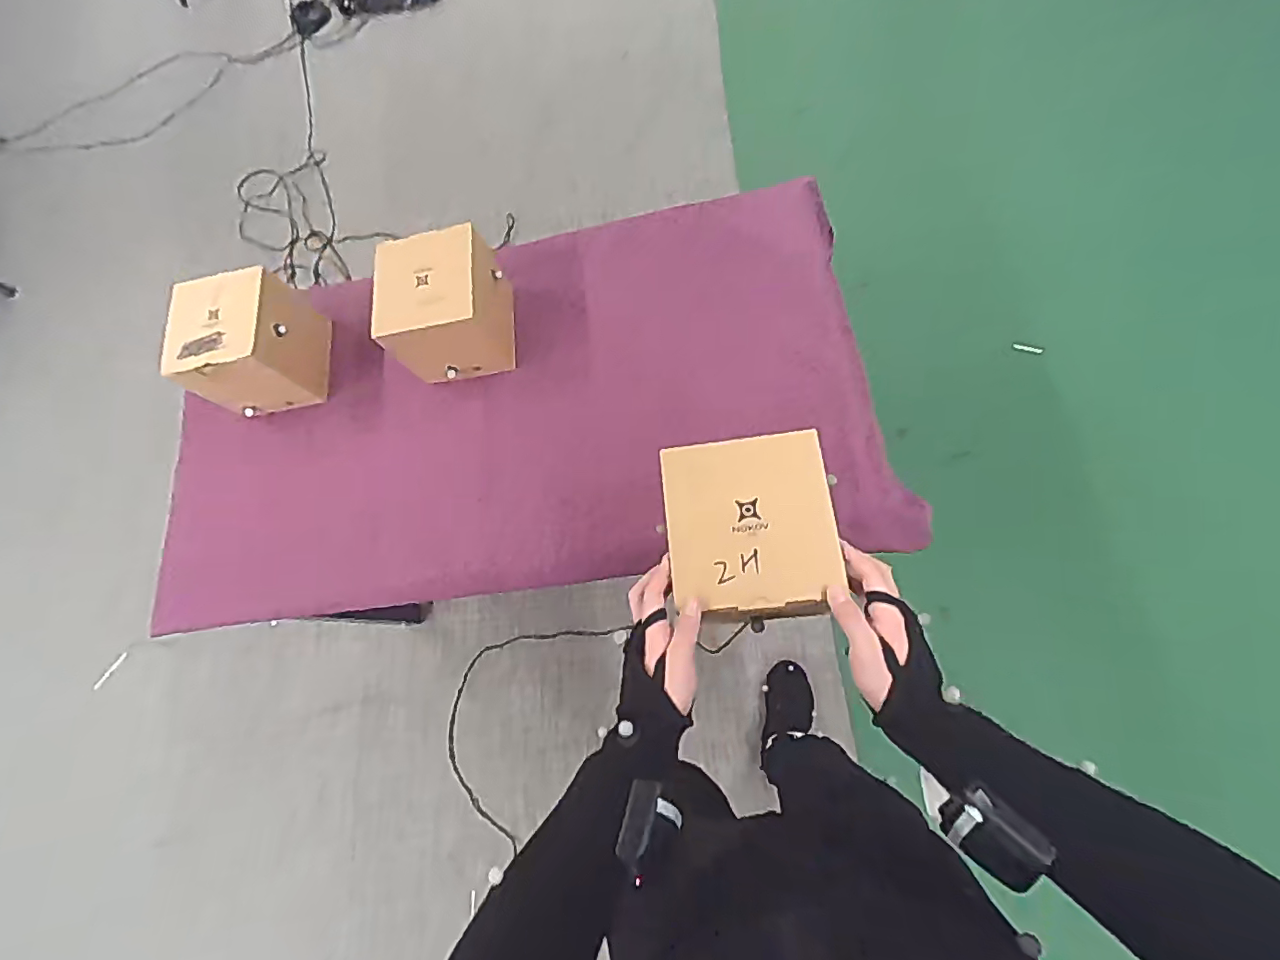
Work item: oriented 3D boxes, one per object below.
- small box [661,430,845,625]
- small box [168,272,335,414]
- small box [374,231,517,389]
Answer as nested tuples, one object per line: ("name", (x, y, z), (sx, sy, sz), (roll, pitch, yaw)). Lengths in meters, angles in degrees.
("small box", (0.119, 0.064, 0.616), (0.168, 0.176, 0.179), (-7, 71, 8))
("small box", (-0.668, -0.228, 0.952), (0.168, 0.176, 0.179), (-9, 71, 6))
("small box", (-0.316, -0.276, 0.908), (0.168, 0.176, 0.179), (-8, 72, 8))
